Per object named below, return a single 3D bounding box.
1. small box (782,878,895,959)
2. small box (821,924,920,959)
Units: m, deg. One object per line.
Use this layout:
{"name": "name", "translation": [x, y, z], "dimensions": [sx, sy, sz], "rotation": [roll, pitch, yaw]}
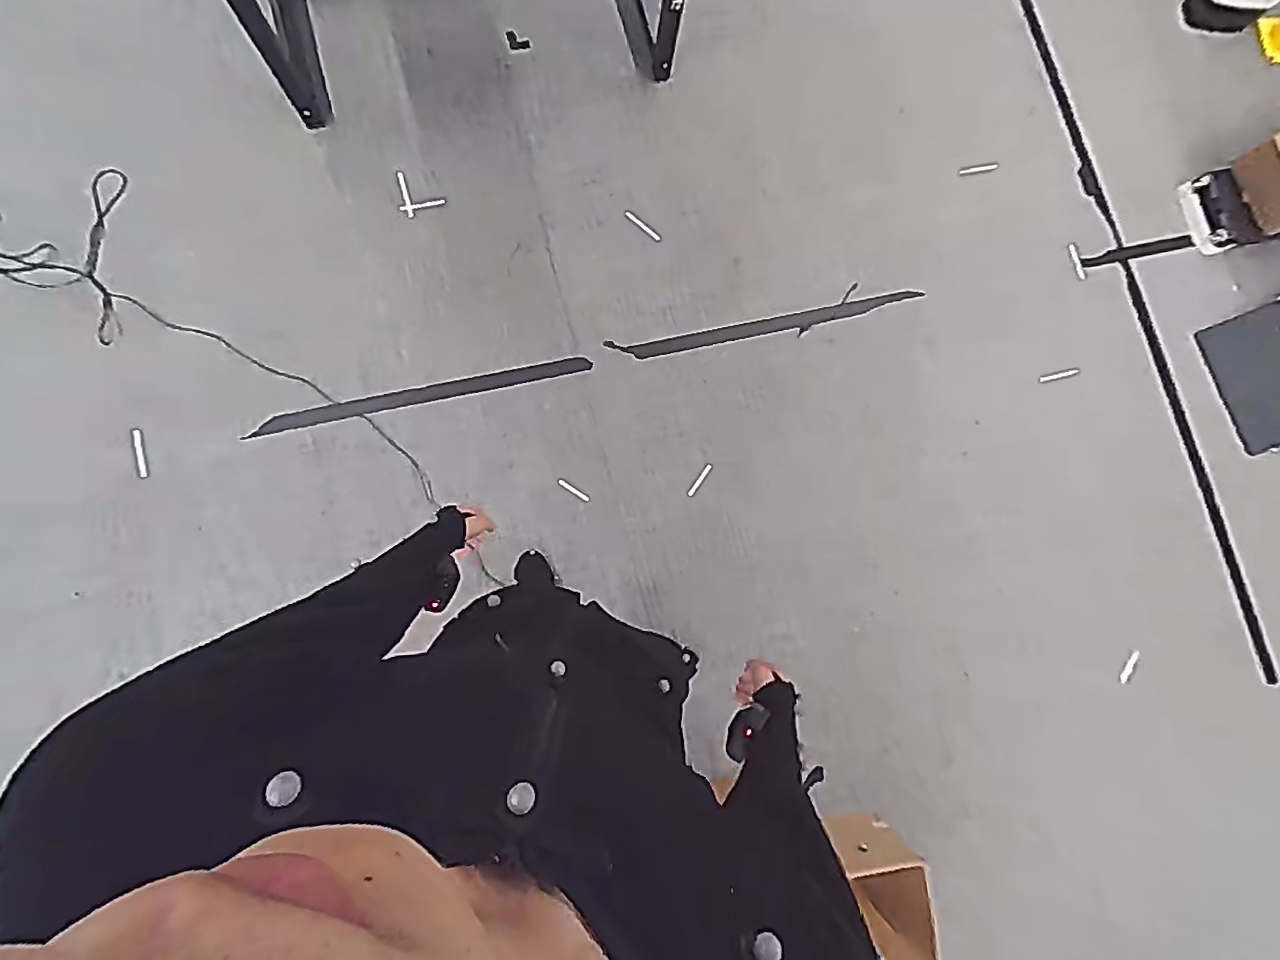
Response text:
{"name": "small box", "translation": [0.419, 0.979, 1.130], "dimensions": [0.179, 0.176, 0.168], "rotation": [-8, 85, -7]}
{"name": "small box", "translation": [0.450, 0.963, 0.970], "dimensions": [0.168, 0.176, 0.179], "rotation": [-11, 86, -9]}
